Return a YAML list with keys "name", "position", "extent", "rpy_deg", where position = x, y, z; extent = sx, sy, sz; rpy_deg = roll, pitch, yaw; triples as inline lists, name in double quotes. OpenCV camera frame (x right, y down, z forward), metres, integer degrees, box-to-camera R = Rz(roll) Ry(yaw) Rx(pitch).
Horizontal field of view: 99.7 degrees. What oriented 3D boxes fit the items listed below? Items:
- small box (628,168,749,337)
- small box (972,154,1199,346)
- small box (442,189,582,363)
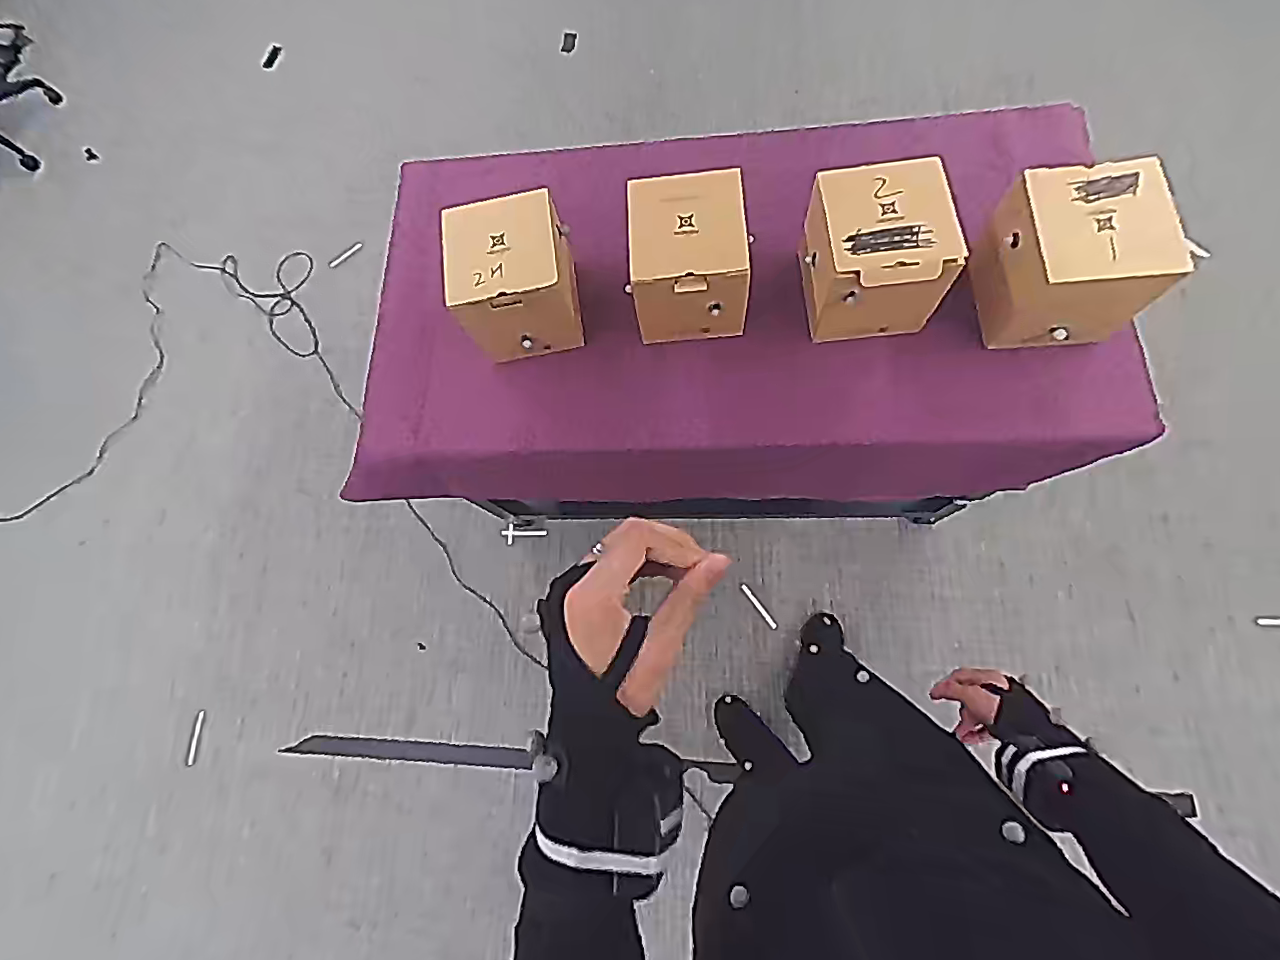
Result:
- name: "small box"
  position: [0.074, -0.333, 0.825]
  extent: [0.168, 0.176, 0.179]
  rpy_deg: [-3, 73, 5]
- name: "small box"
  position: [0.593, -0.308, 0.751]
  extent: [0.168, 0.176, 0.179]
  rpy_deg: [-3, 74, 7]
- name: "small box"
  position: [-0.194, -0.310, 0.850]
  extent: [0.168, 0.176, 0.179]
  rpy_deg: [-10, 73, 4]
